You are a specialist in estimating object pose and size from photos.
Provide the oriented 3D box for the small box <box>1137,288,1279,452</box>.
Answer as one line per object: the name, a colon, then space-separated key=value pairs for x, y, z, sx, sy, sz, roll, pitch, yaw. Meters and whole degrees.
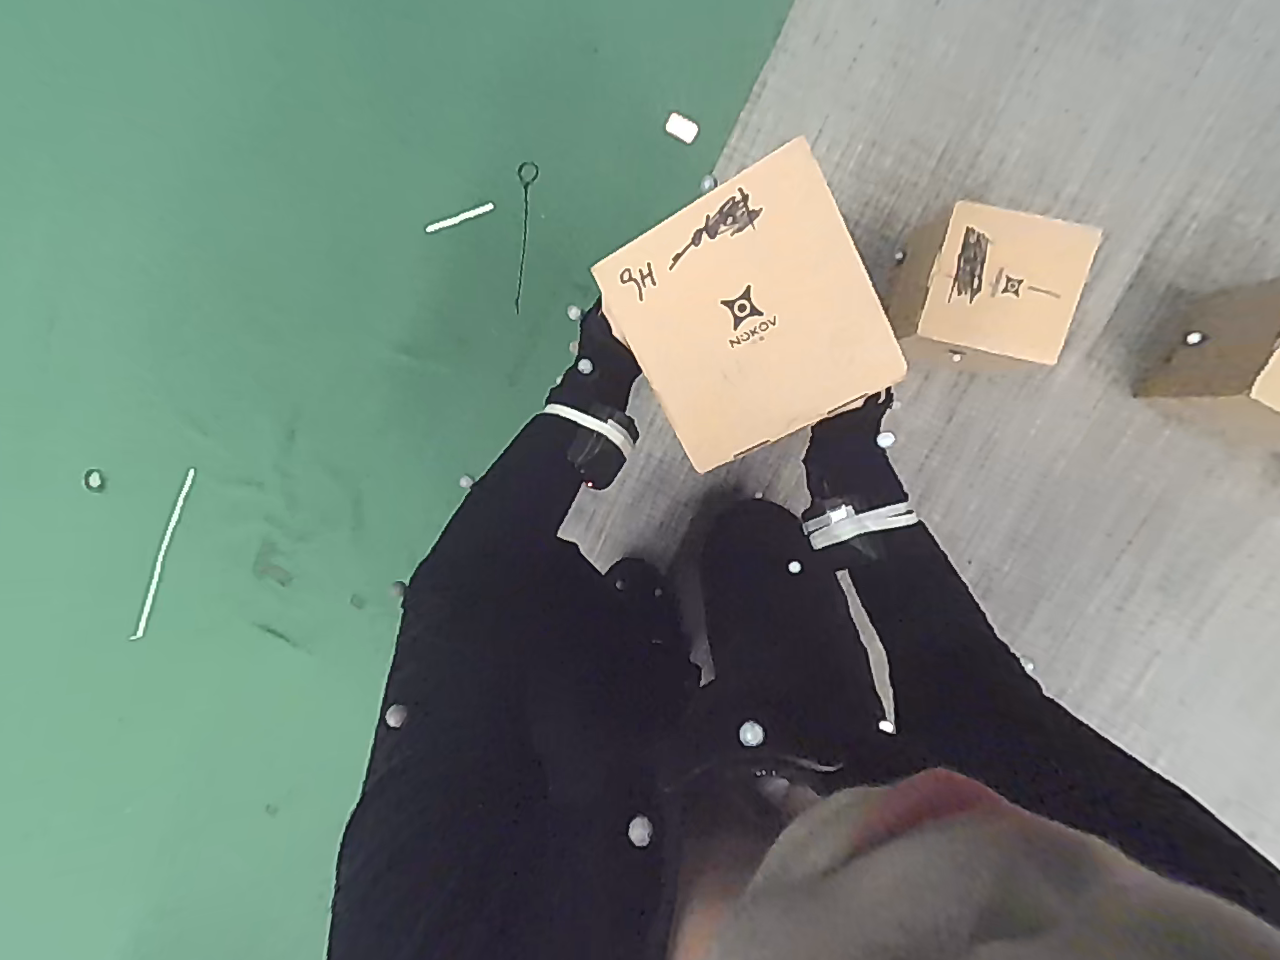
small box: x=0.830 y=-0.141 z=0.704 sx=0.179 sy=0.176 sz=0.168 roll=27 pitch=99 yaw=3

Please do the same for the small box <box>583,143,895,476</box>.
small box: x=0.081 y=-0.132 z=0.453 sx=0.168 sy=0.176 sz=0.179 roll=-26 pitch=101 yaw=15
